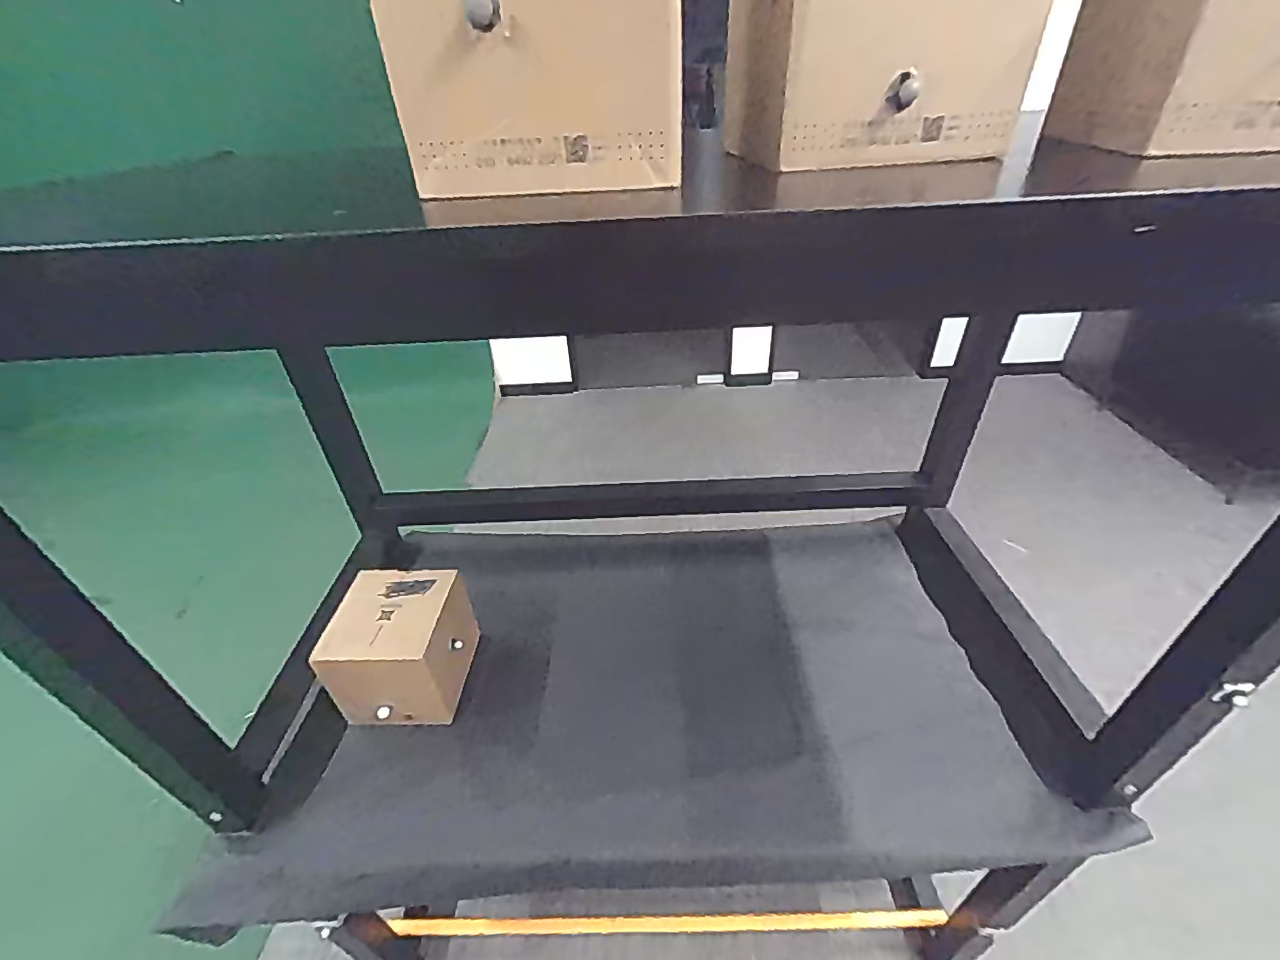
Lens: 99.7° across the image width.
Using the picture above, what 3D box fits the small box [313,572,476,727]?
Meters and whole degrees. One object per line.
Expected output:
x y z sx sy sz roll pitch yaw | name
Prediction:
-0.374 0.267 0.866 0.168 0.176 0.179 -2 36 2 | small box
